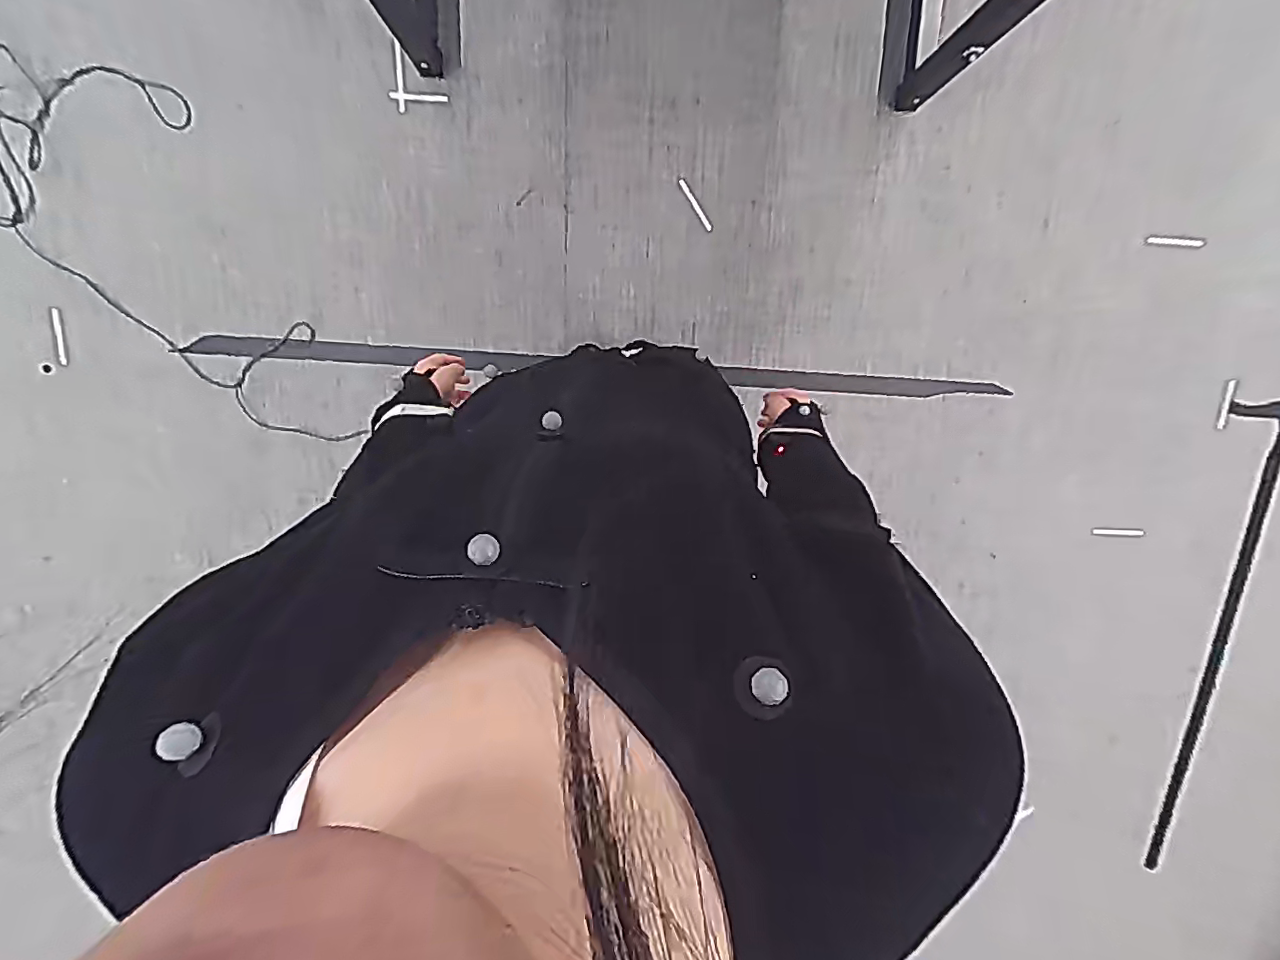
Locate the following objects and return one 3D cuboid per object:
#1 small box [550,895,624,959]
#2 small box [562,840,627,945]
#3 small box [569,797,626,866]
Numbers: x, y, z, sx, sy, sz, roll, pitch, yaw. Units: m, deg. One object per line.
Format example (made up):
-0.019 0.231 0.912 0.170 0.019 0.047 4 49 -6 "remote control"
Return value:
-0.126 1.179 1.340 0.168 0.176 0.179 -3 102 -1 "small box"
-0.122 1.144 1.502 0.168 0.176 0.179 -3 104 -2 "small box"
-0.129 1.105 1.661 0.168 0.176 0.179 -2 103 -2 "small box"
